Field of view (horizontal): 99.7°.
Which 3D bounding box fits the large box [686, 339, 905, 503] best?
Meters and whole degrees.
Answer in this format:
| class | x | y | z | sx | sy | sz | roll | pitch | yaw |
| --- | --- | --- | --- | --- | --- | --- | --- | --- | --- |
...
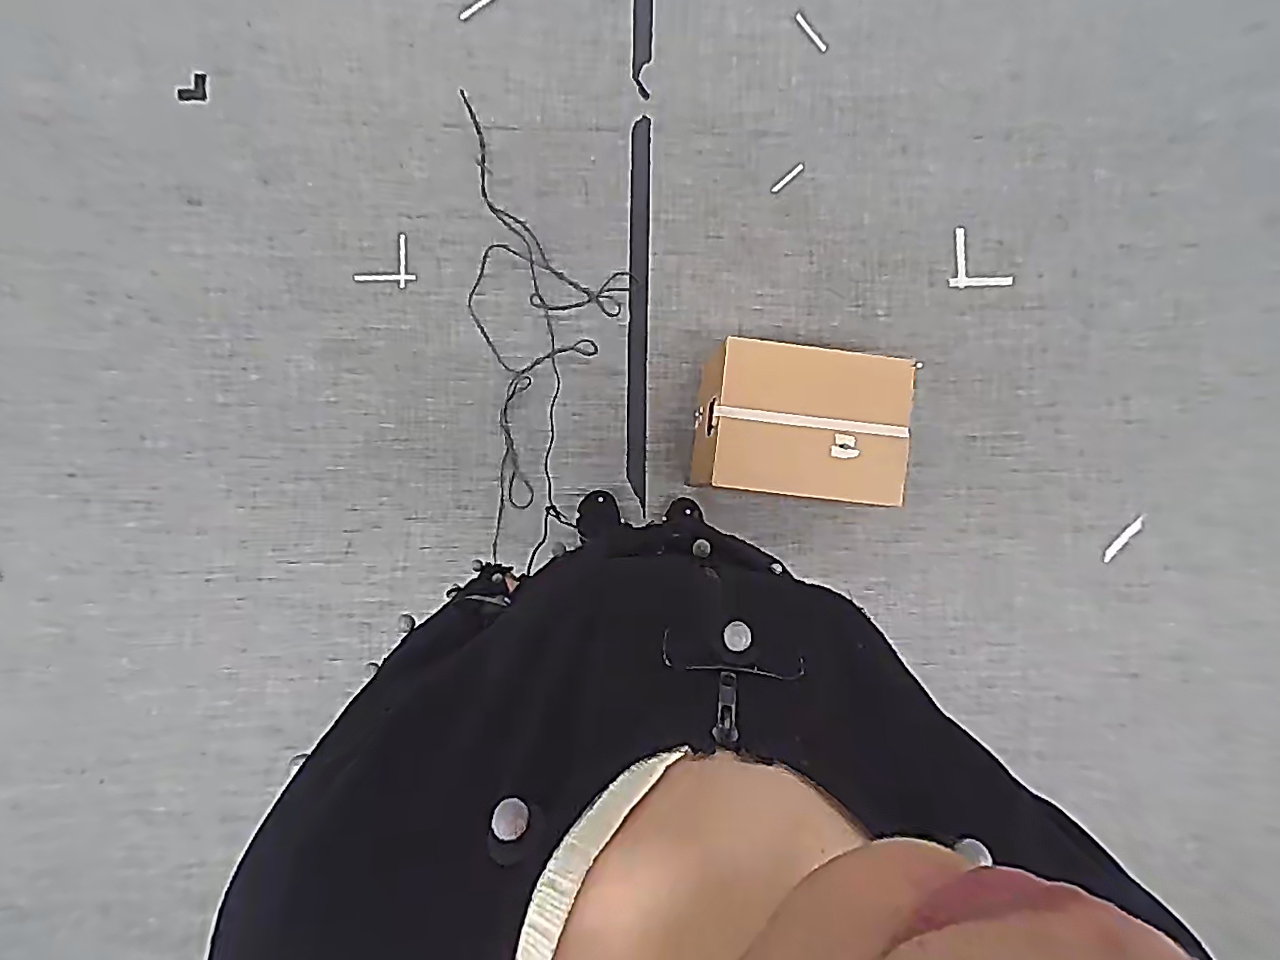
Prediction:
| class | x | y | z | sx | sy | sz | roll | pitch | yaw |
| --- | --- | --- | --- | --- | --- | --- | --- | --- | --- |
| large box | 0.338 | -0.117 | 1.269 | 0.408 | 0.320 | 0.320 | 6 | 89 | -4 |
